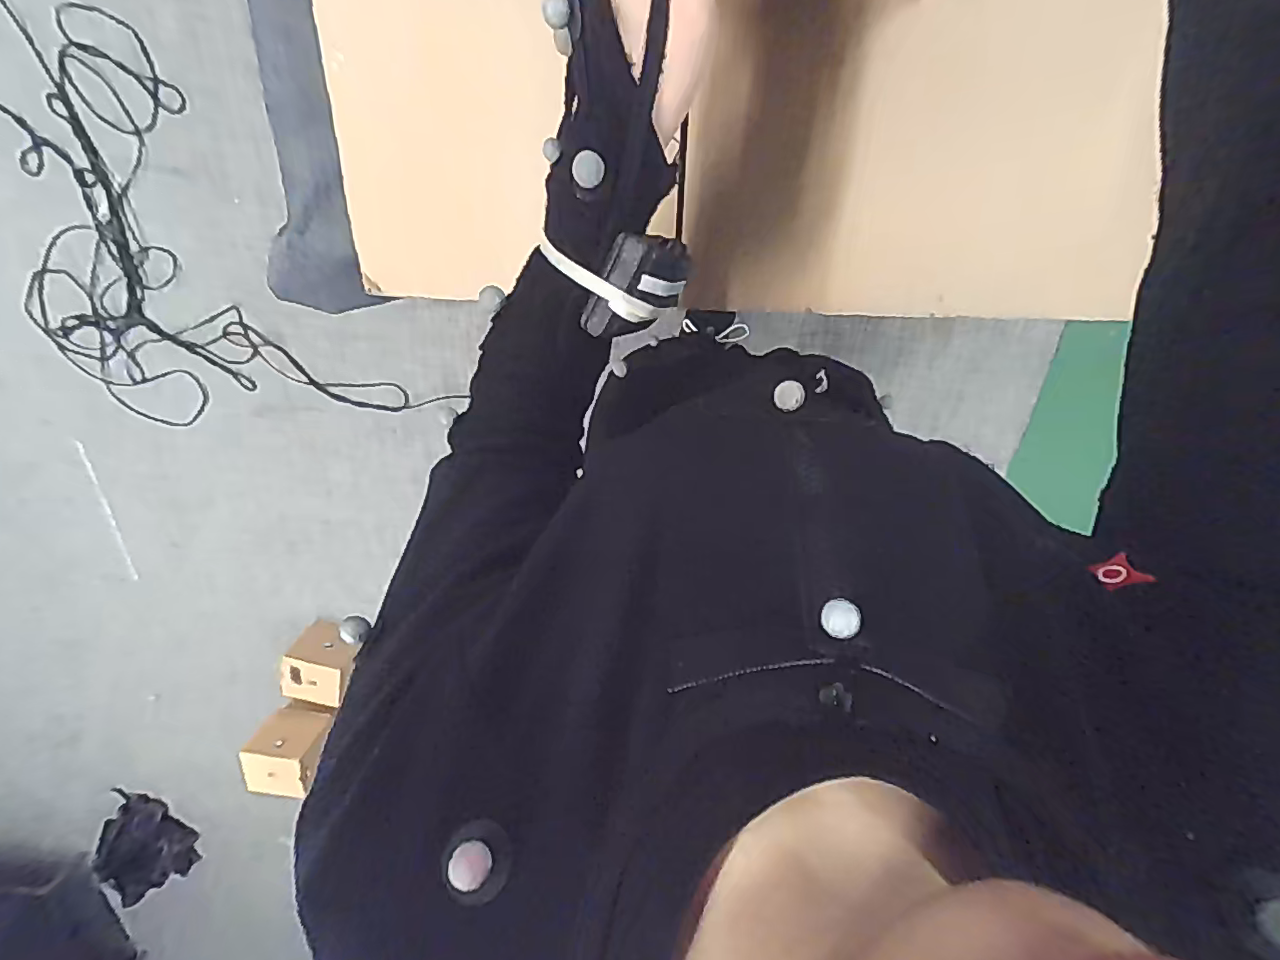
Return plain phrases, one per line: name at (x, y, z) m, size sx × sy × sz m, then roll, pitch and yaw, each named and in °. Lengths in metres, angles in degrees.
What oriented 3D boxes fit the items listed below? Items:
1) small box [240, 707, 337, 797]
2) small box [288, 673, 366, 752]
small box at (-1.053, 0.816, 1.633) m, size 0.179 × 0.176 × 0.168 m, roll 8°, pitch 114°, yaw 0°
small box at (-1.029, 0.762, 1.785) m, size 0.179 × 0.176 × 0.168 m, roll 8°, pitch 115°, yaw 0°
